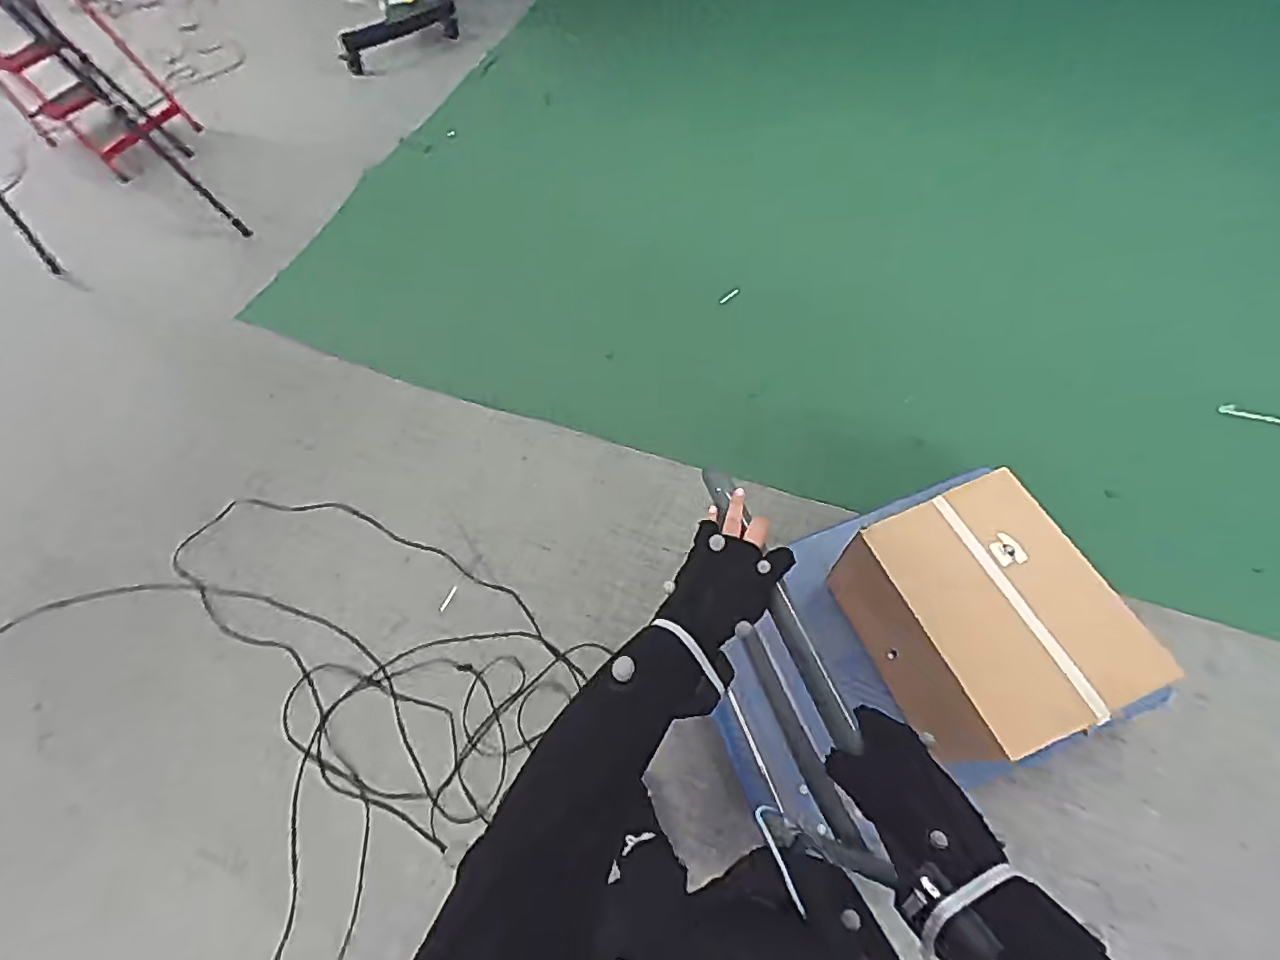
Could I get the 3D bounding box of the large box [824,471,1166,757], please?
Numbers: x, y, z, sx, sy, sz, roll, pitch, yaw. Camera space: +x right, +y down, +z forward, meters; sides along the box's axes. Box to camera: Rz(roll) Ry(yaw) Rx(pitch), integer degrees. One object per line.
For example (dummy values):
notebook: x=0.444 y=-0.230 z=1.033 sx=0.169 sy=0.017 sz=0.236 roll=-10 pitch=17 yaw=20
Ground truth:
large box: x=0.620 y=0.265 z=1.045 sx=0.320 sy=0.320 sz=0.408 roll=-22 pitch=62 yaw=-6
